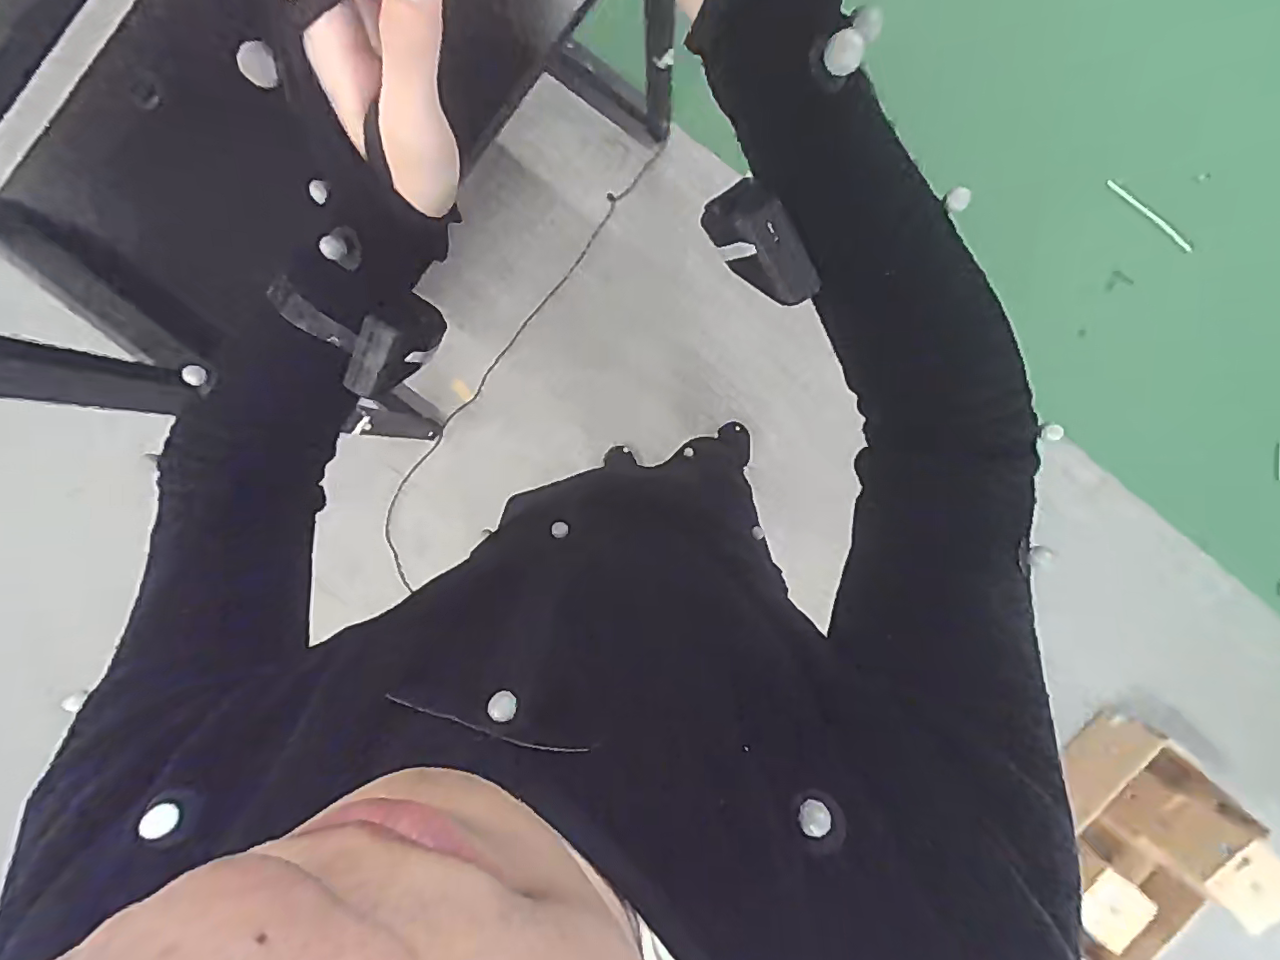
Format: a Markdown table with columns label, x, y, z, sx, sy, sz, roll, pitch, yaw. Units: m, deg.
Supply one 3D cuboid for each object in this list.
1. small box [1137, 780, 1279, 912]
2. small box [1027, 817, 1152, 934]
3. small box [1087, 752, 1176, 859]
| label | x | y | z | sx | sy | sz | roll | pitch | yaw |
| --- | --- | --- | --- | --- | --- | --- | --- | --- | --- |
| small box | 1.426 | 0.903 | 1.351 | 0.168 | 0.176 | 0.179 | -45 | 91 | 3 |
| small box | 1.255 | 1.100 | 1.526 | 0.179 | 0.176 | 0.168 | 39 | 92 | 0 |
| small box | 1.424 | 0.900 | 1.514 | 0.179 | 0.176 | 0.168 | 39 | 93 | 0 |
